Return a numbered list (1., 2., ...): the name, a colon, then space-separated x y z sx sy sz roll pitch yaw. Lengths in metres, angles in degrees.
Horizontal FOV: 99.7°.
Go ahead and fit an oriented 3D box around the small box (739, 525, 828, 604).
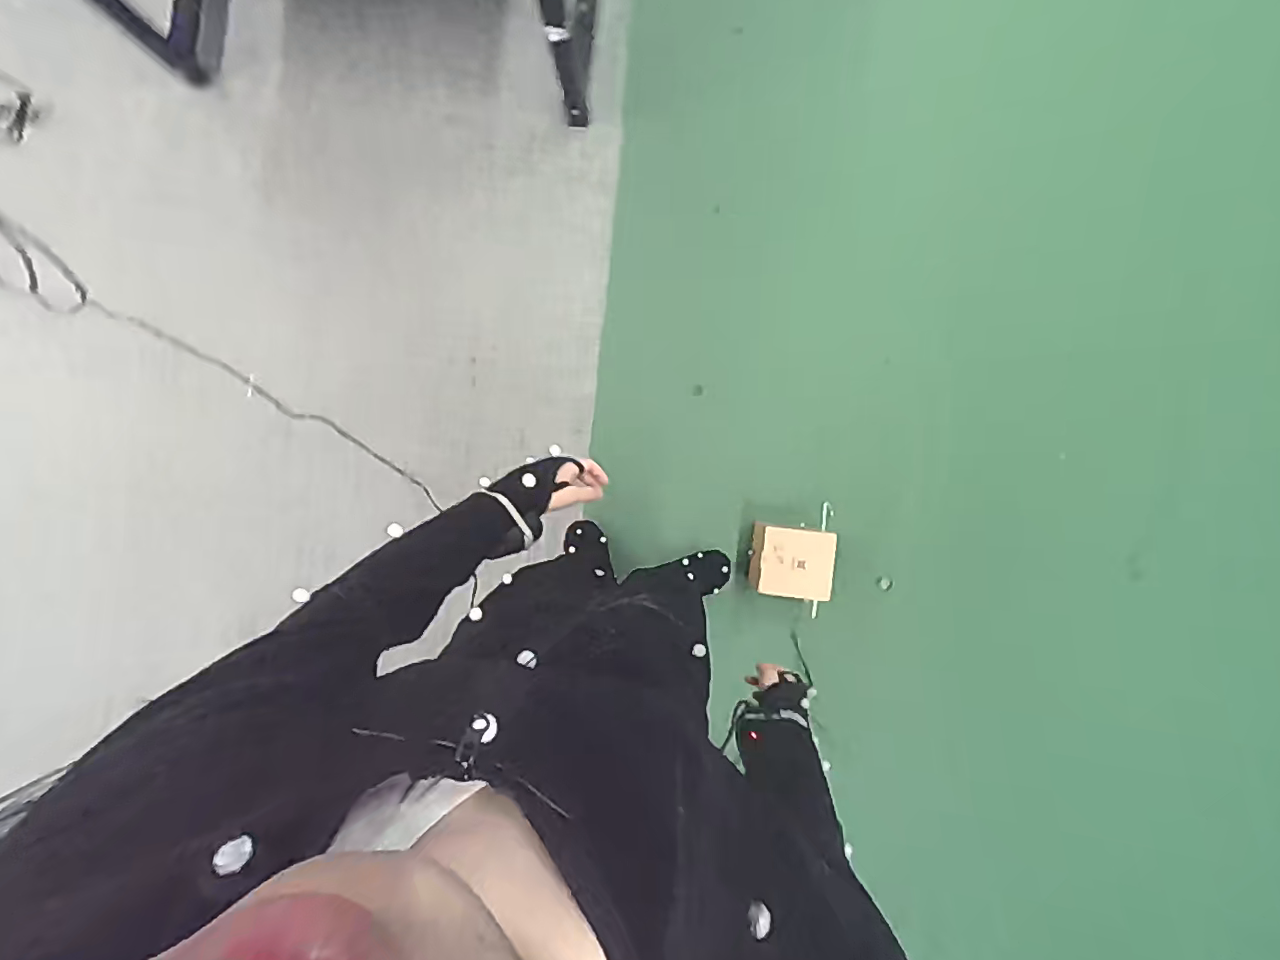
1. small box: 0.361 0.210 1.386 0.179 0.176 0.168 7 89 1
